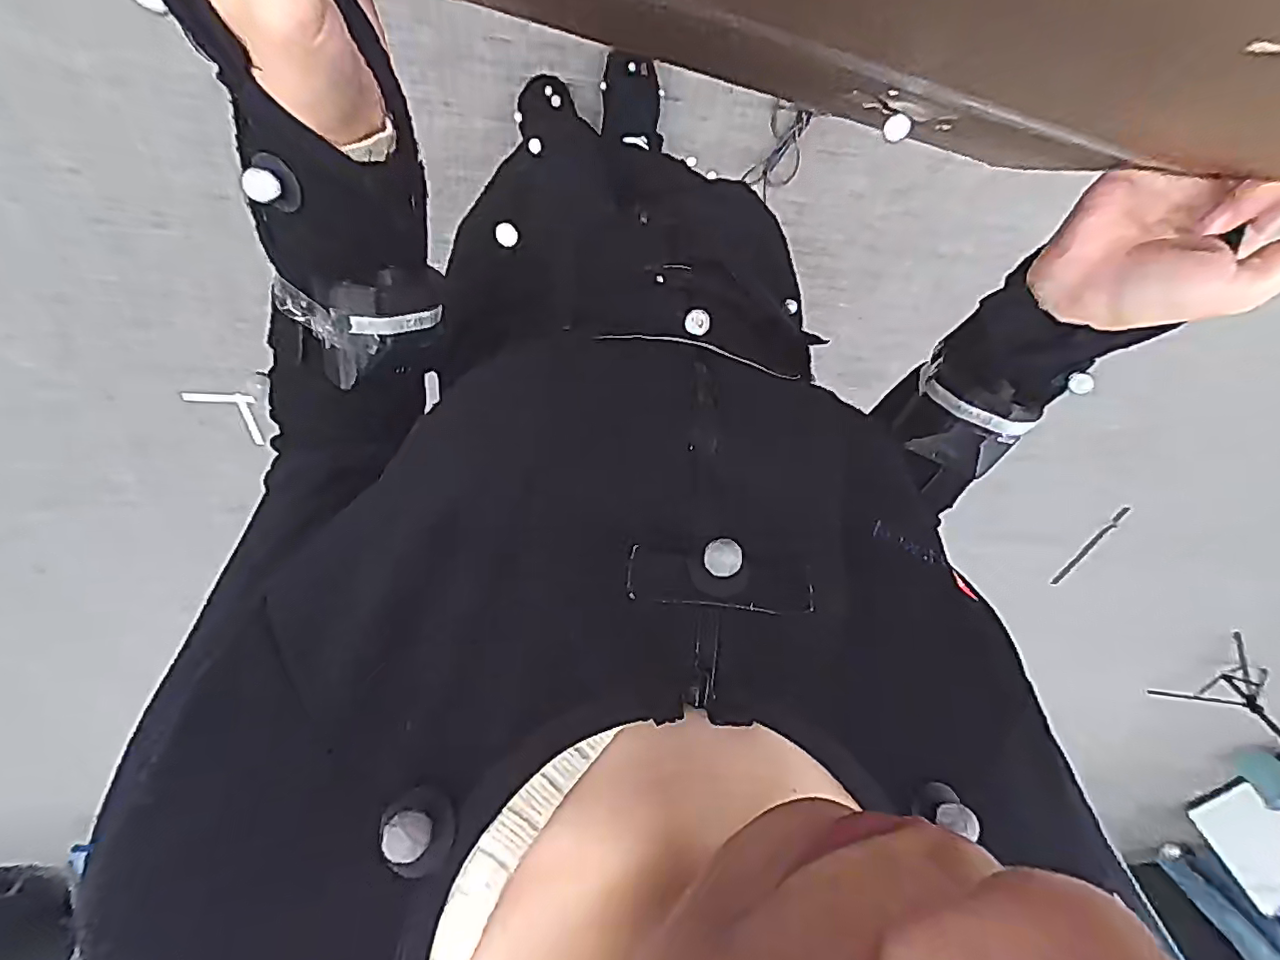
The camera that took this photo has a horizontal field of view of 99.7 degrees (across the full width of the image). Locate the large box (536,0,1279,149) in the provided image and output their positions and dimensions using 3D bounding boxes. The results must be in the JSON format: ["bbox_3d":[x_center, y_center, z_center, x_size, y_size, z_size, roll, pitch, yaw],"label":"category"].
[{"bbox_3d":[0.106,-0.311,0.133,0.408,0.320,0.320,8,121,-11],"label":"large box"}]
